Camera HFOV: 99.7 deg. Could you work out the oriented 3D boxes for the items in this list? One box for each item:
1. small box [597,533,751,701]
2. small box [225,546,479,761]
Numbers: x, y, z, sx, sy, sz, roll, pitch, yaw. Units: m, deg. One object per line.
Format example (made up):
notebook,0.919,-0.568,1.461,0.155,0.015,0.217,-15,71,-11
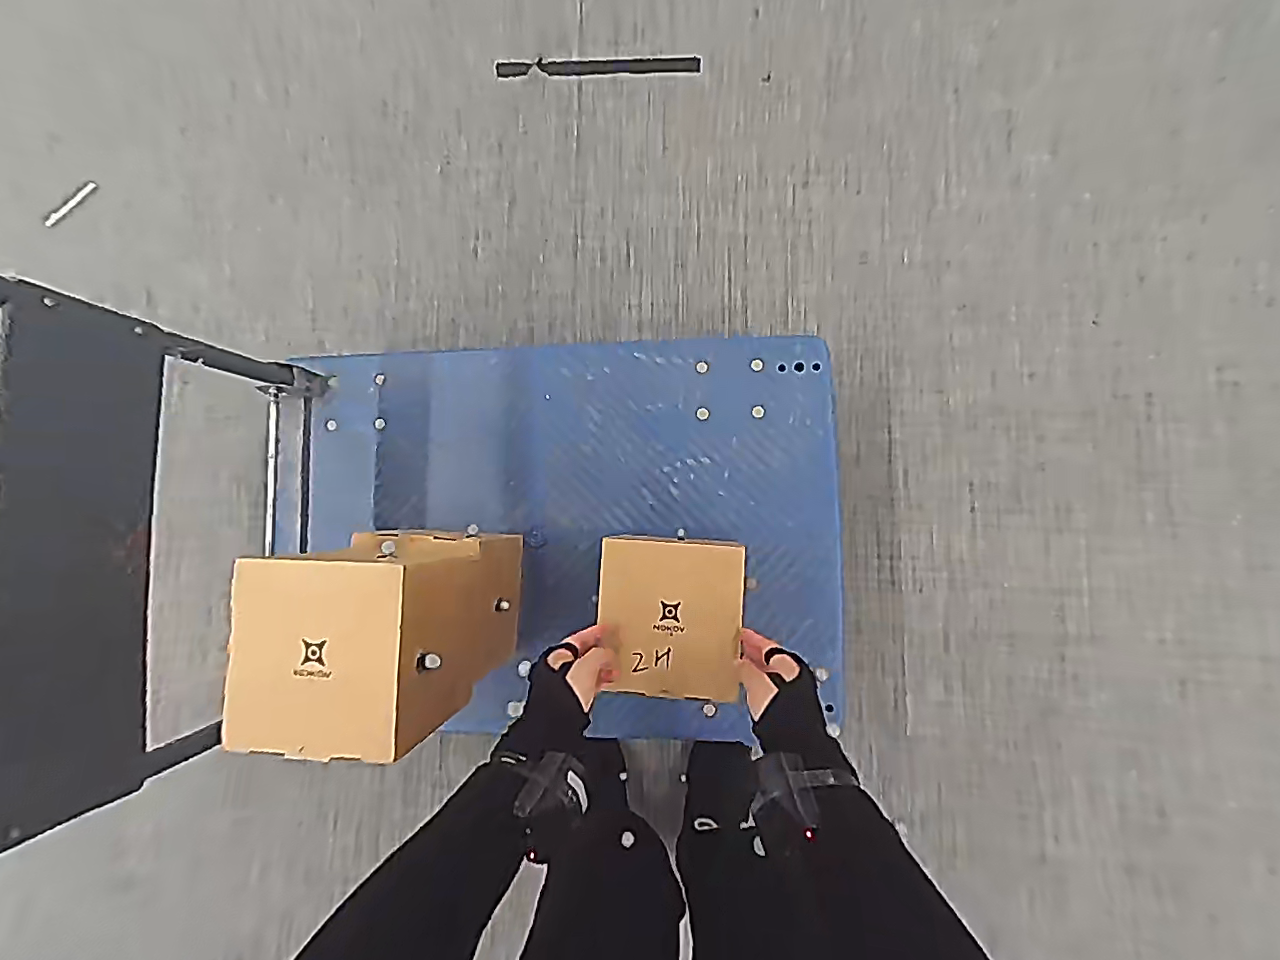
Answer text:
small box,0.045,0.160,0.689,0.168,0.176,0.179,3,86,6
small box,-0.276,0.160,0.557,0.168,0.176,0.179,1,87,6
